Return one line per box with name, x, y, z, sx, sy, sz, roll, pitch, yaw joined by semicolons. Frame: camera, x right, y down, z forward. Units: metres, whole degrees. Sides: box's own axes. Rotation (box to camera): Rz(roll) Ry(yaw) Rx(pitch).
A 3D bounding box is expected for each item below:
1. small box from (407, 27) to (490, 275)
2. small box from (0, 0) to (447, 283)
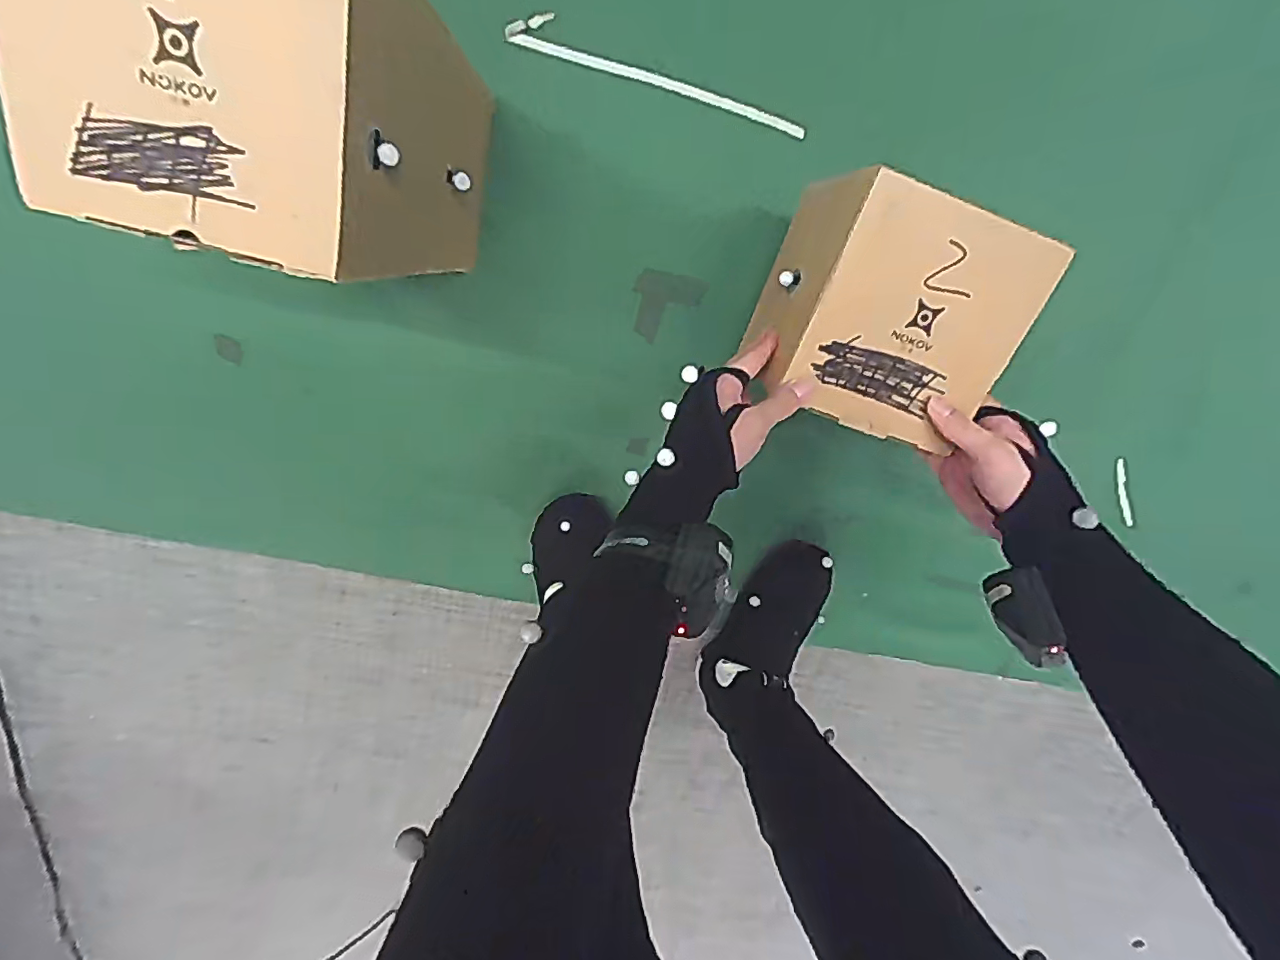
small box;-0.241;-0.300;0.492;0.168;0.176;0.179;12;112;-8
small box;-0.232;-0.237;0.341;0.168;0.176;0.179;12;111;-8
